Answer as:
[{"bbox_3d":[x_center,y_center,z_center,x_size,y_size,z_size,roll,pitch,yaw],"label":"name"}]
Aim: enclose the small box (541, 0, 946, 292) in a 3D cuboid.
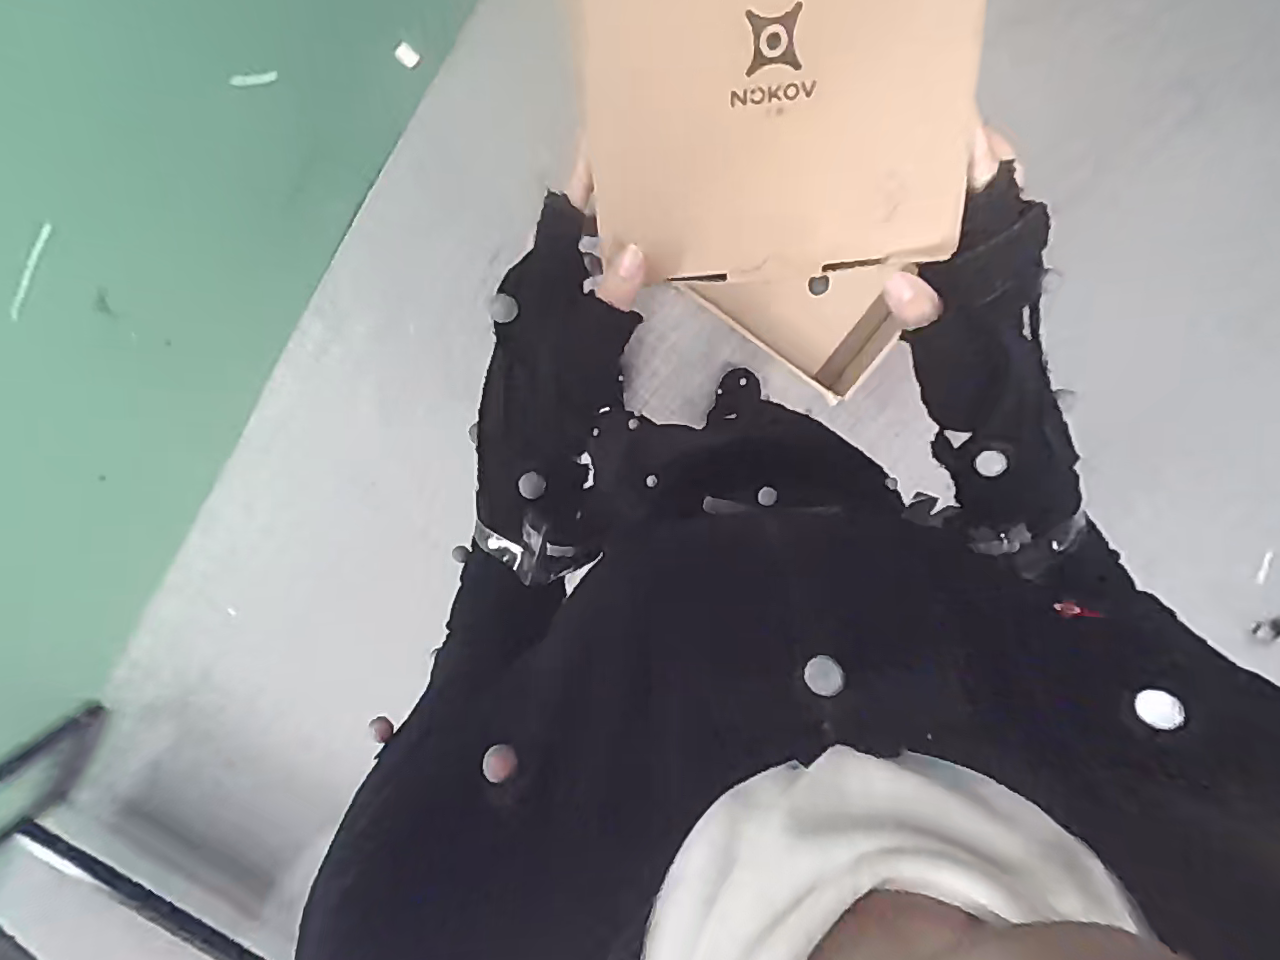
[{"bbox_3d":[0.050,-0.207,0.301,0.168,0.176,0.179,-3,111,7],"label":"small box"}]
